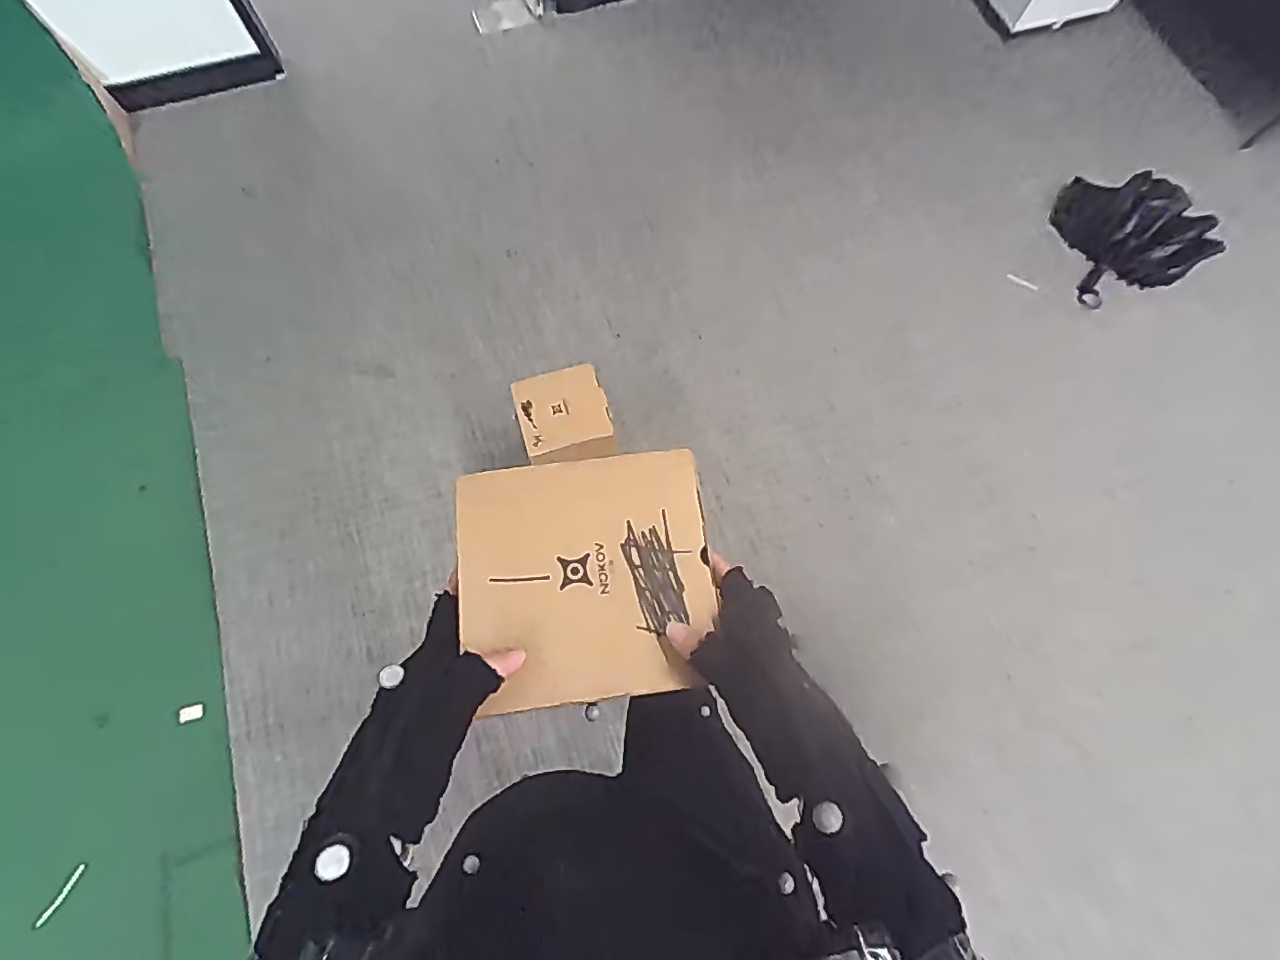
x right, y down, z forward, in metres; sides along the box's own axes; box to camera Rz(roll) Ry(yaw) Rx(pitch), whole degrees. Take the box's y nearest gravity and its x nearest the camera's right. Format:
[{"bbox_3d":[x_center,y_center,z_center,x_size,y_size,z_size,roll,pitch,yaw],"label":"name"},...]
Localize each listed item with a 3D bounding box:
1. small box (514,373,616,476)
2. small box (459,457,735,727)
[{"bbox_3d":[-0.154,-0.100,1.150,0.179,0.176,0.168,-16,73,-7],"label":"small box"},{"bbox_3d":[-0.040,0.096,0.454,0.179,0.176,0.168,-9,70,-8],"label":"small box"}]
